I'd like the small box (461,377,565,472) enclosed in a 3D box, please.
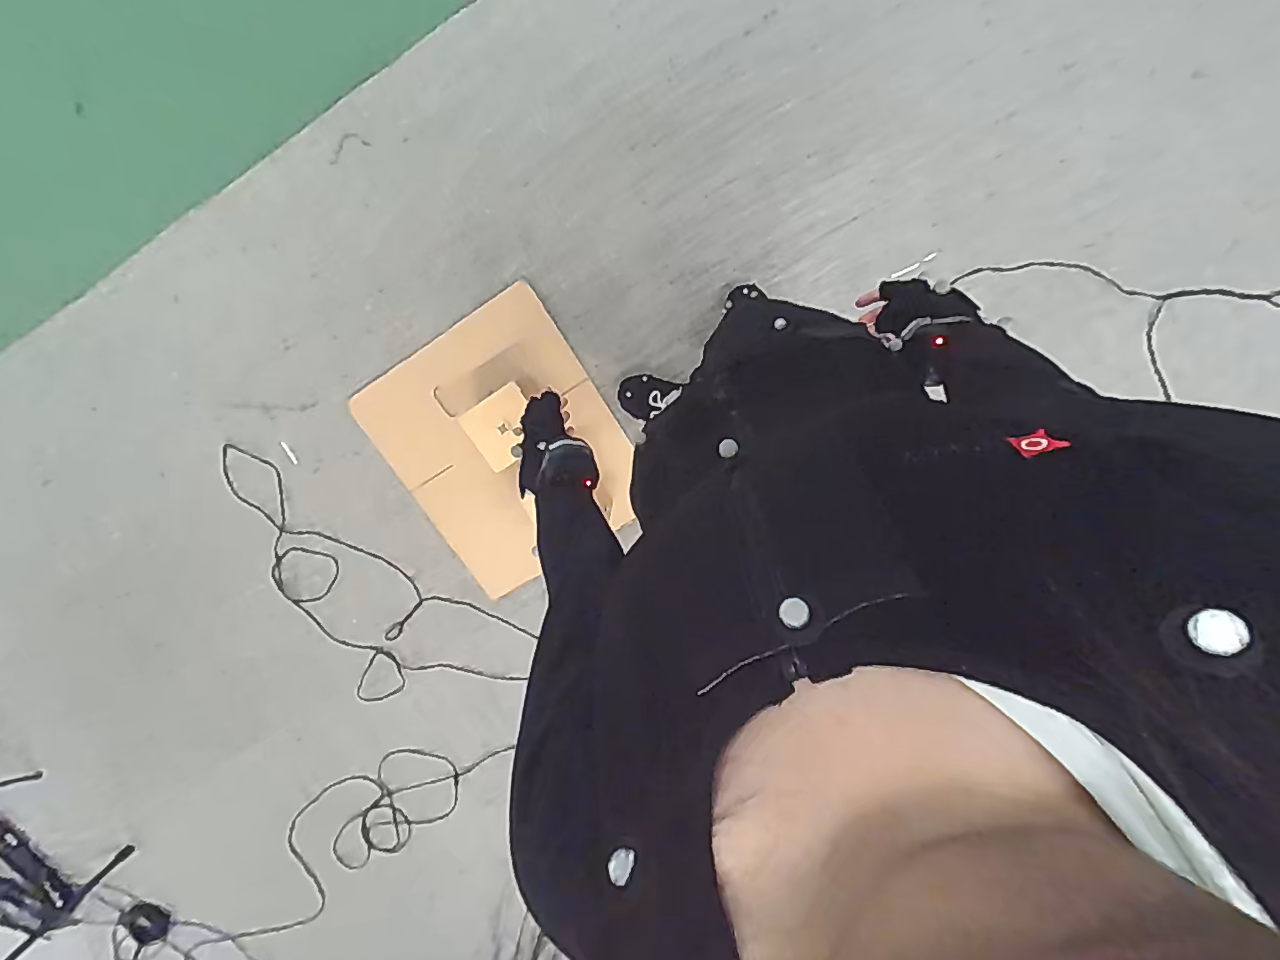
[{"bbox_3d":[-0.315,-0.146,1.382,0.179,0.176,0.168,-33,102,9],"label":"small box"}]
